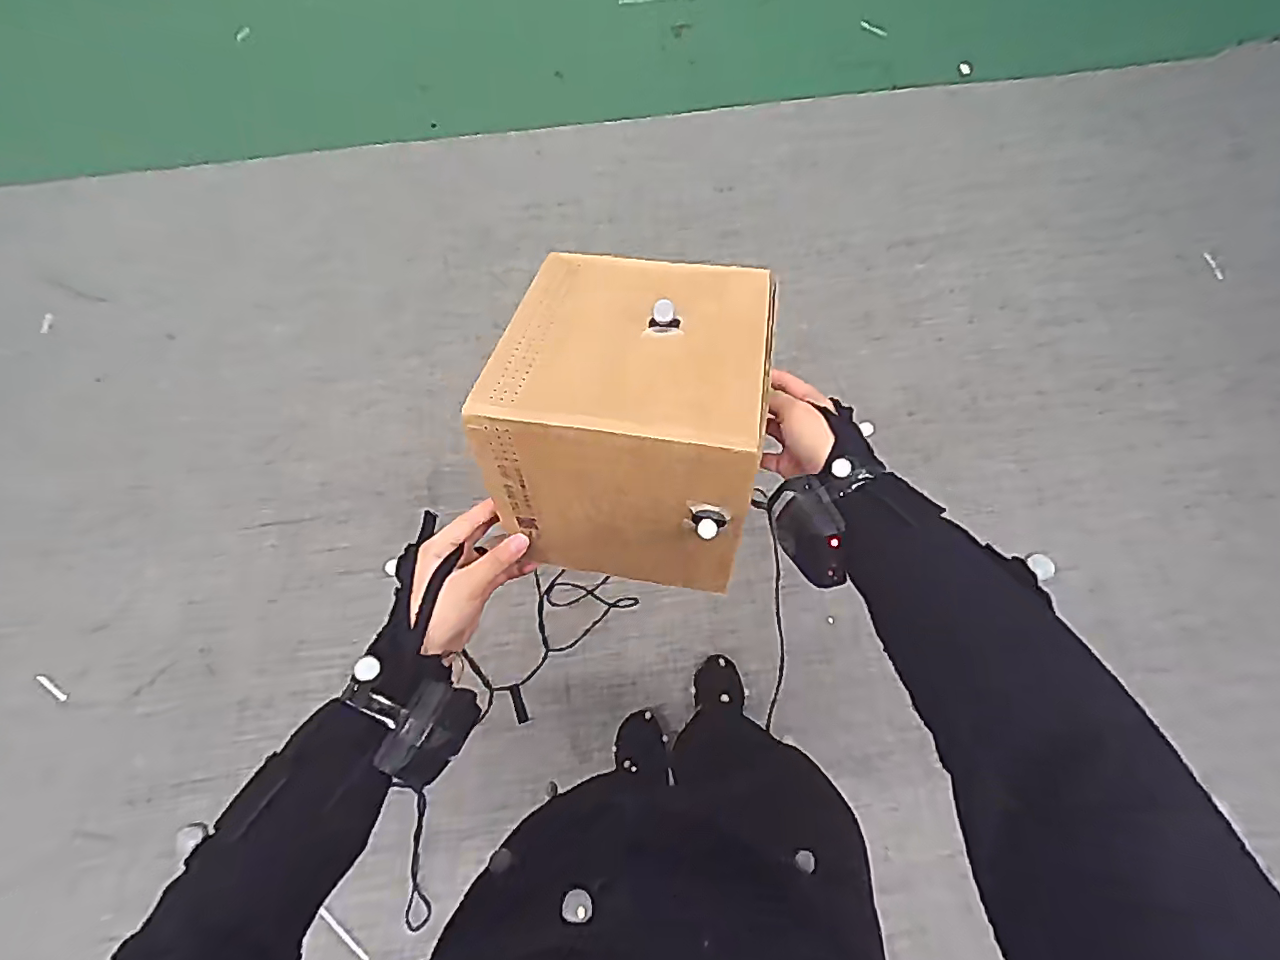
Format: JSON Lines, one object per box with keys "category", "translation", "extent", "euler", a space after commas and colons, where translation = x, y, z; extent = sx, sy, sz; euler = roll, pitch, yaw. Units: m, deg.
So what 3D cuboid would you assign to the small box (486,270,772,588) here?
{"category": "small box", "translation": [0.000, -0.042, 0.414], "extent": [0.176, 0.168, 0.179], "euler": [7, 52, 7]}
